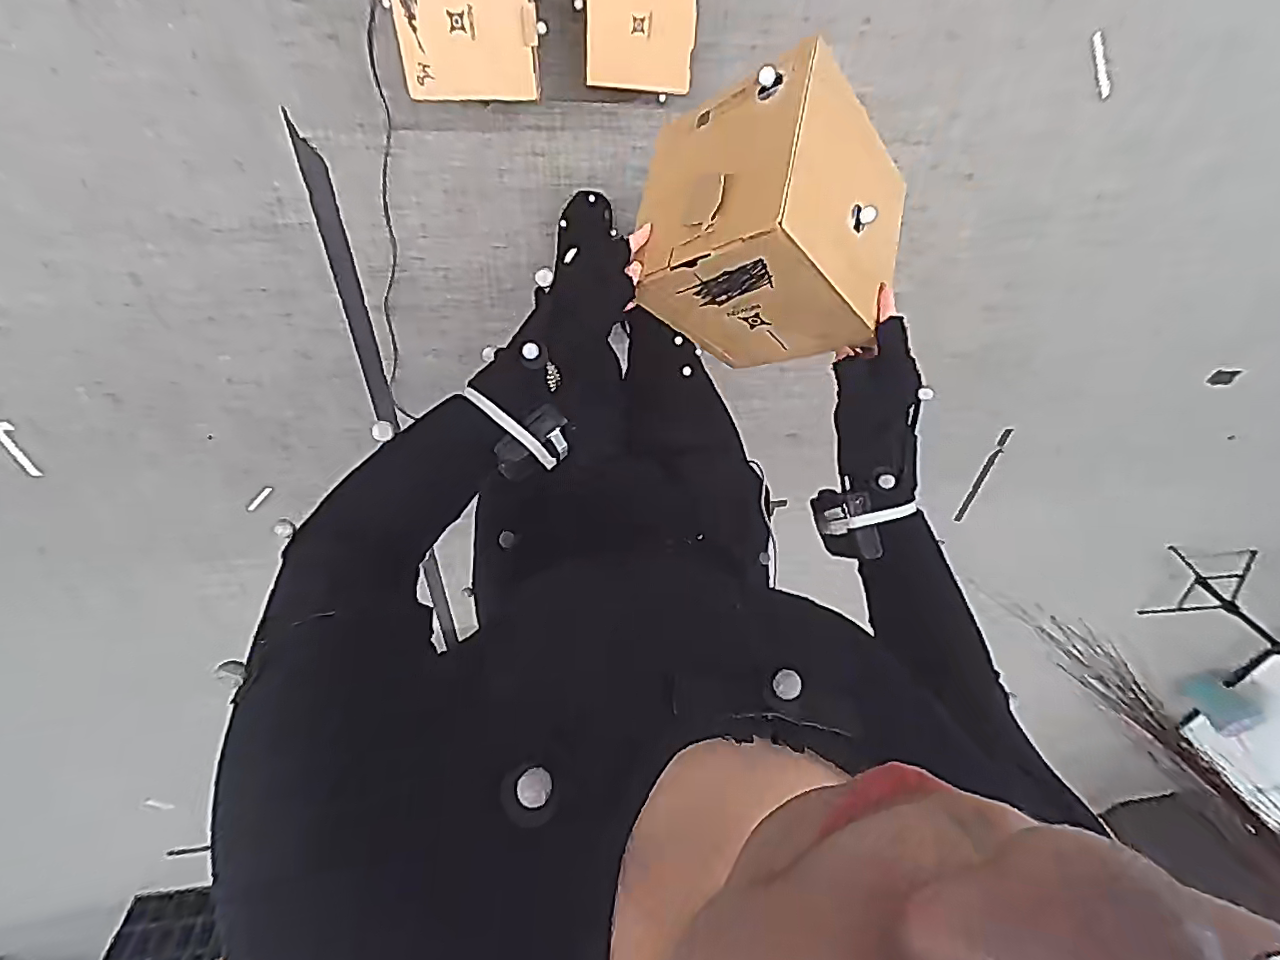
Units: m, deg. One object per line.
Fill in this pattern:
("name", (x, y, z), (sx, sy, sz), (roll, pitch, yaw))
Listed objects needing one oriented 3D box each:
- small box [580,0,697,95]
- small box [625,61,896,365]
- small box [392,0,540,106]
("small box", (-0.011, -0.764, 0.917), (0.179, 0.176, 0.168), (-3, 128, -10))
("small box", (0.115, -0.230, 0.497), (0.179, 0.176, 0.168), (22, 165, -41))
("small box", (-0.237, -0.636, 0.762), (0.179, 0.176, 0.168), (-4, 128, -7))
